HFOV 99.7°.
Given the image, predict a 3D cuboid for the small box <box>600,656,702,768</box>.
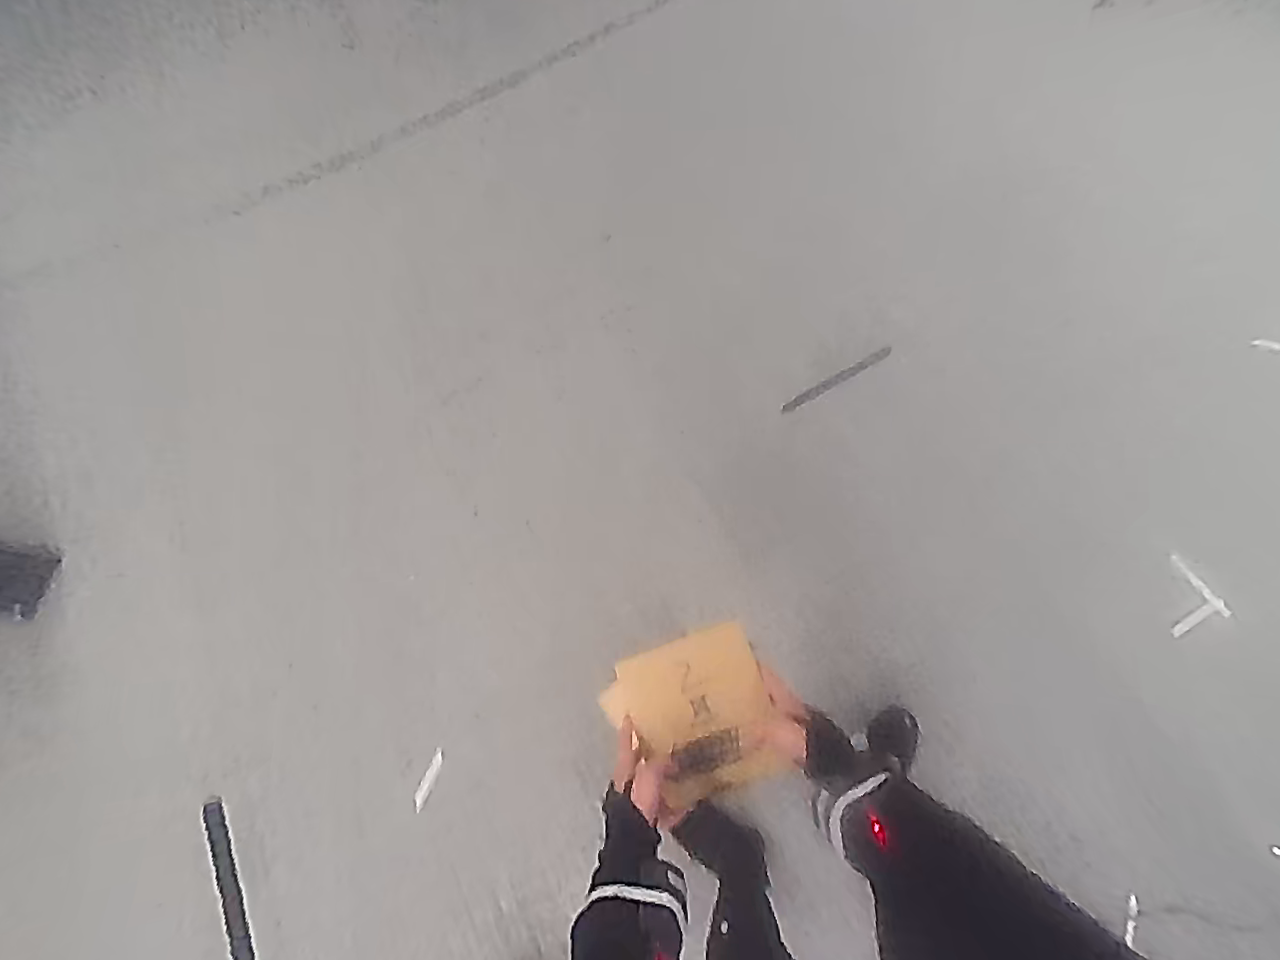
[{"bbox_3d":[0.027,0.542,1.279,0.168,0.176,0.179,-38,72,-9],"label":"small box"}]
